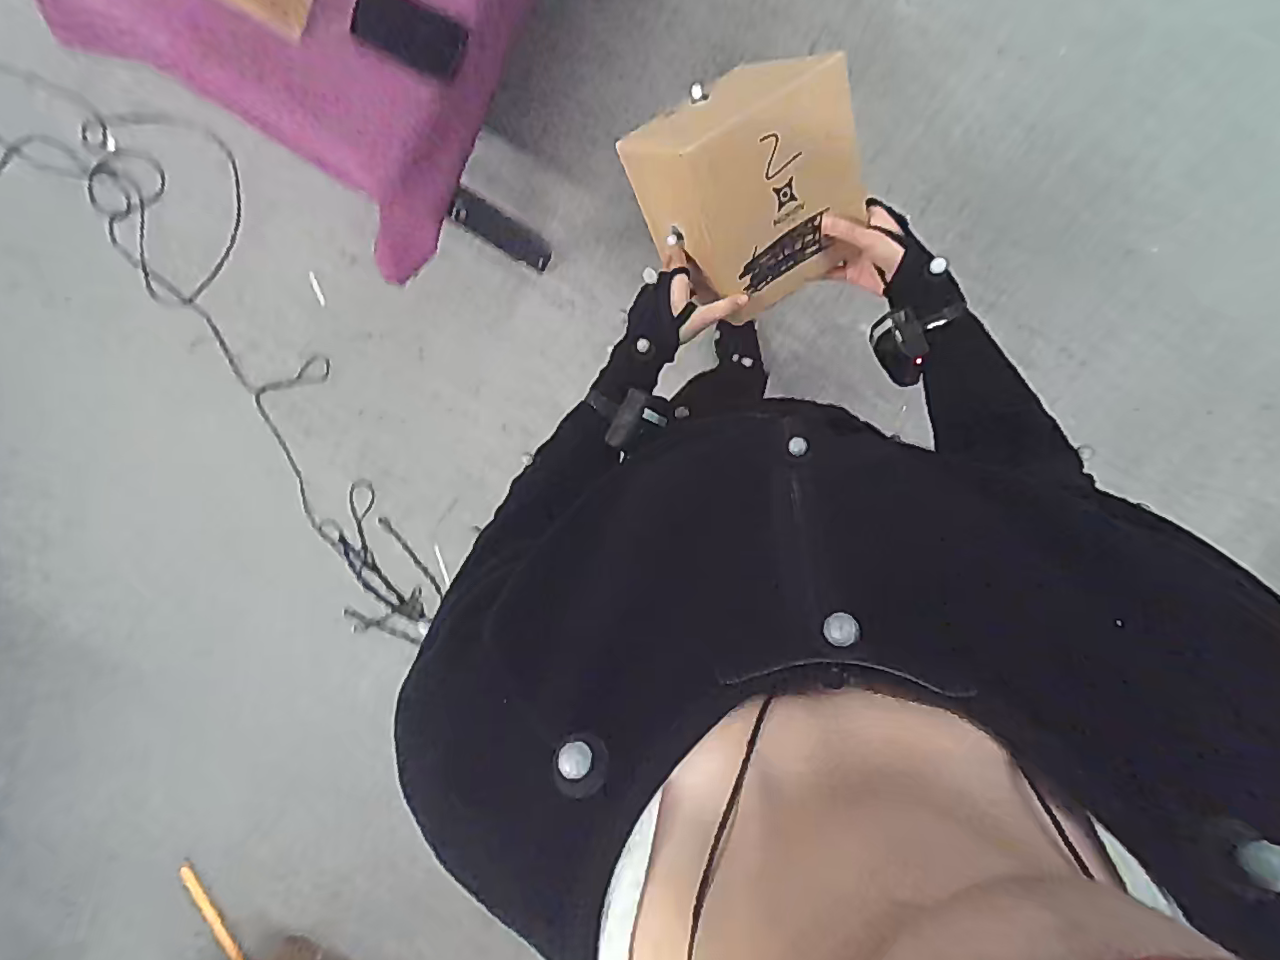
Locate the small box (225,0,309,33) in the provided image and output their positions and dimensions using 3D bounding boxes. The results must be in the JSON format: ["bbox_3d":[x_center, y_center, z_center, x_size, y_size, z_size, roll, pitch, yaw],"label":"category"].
[{"bbox_3d":[-0.495,-0.675,0.624,0.179,0.176,0.168,31,103,2],"label":"small box"}]

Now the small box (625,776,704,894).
[{"bbox_3d":[0.067,0.922,1.421,0.168,0.176,0.179,15,103,4],"label":"small box"}]
